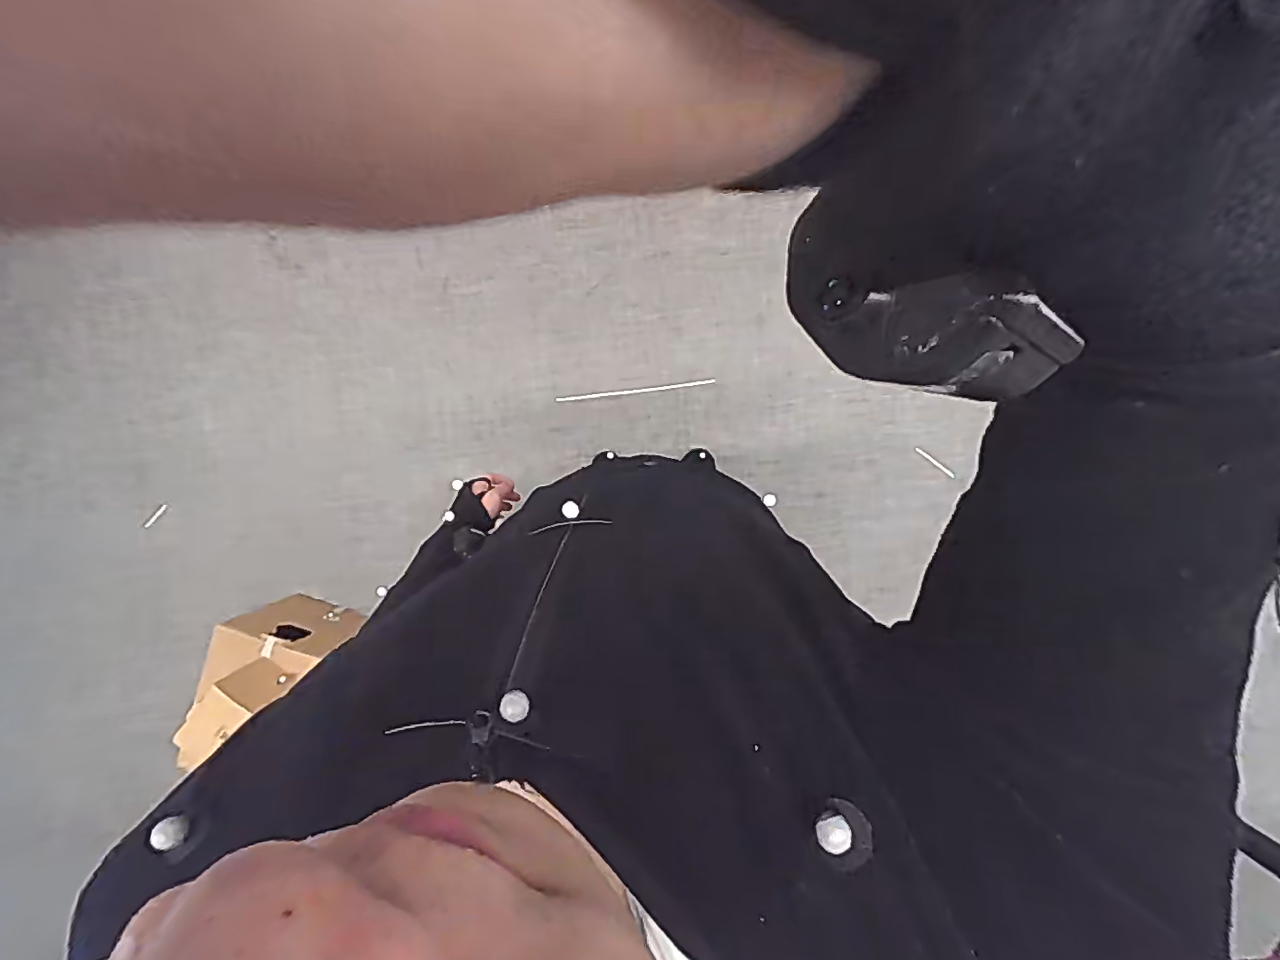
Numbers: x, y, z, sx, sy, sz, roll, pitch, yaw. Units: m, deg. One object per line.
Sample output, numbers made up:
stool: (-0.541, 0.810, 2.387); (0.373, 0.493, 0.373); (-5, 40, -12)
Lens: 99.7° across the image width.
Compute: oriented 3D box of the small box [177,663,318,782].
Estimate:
small box: (-0.933, 0.568, 1.301); (0.179, 0.176, 0.168); (37, 93, -1)

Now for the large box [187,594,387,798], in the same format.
large box: (-0.986, 0.592, 1.551); (0.320, 0.320, 0.408); (17, 94, 2)
